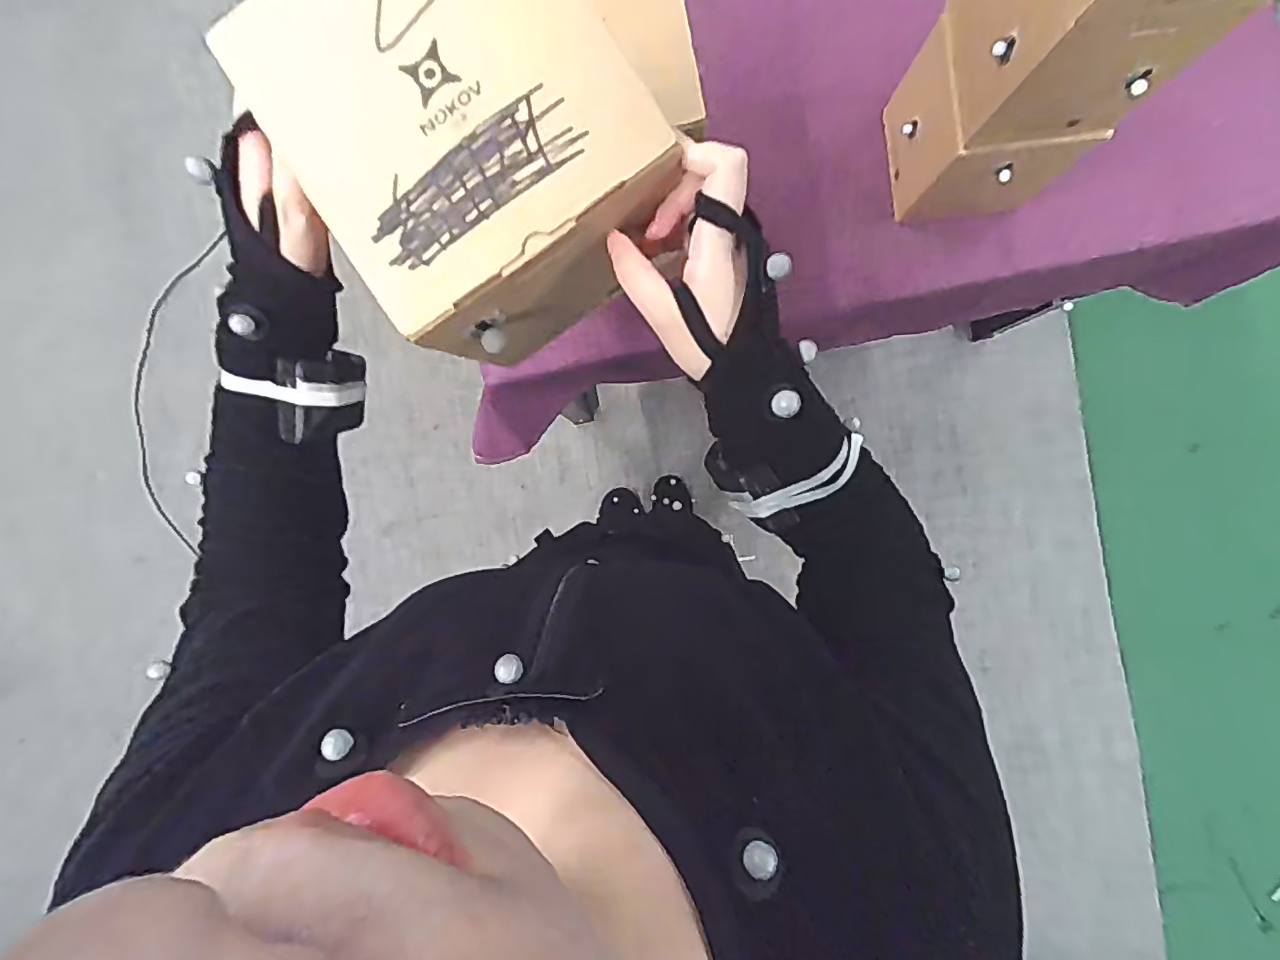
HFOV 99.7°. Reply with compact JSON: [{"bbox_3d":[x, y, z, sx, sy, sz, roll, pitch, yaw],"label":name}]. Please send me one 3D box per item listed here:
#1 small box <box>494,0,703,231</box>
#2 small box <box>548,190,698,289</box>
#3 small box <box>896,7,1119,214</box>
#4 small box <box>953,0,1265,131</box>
[{"bbox_3d":[-0.034,-0.375,0.545,0.168,0.176,0.179,-10,88,2],"label":"small box"},{"bbox_3d":[-0.025,-0.369,0.709,0.179,0.176,0.168,-10,89,2],"label":"small box"},{"bbox_3d":[0.443,-0.461,0.685,0.179,0.176,0.168,-5,90,3],"label":"small box"},{"bbox_3d":[0.434,-0.471,0.523,0.168,0.176,0.179,-6,89,2],"label":"small box"}]
